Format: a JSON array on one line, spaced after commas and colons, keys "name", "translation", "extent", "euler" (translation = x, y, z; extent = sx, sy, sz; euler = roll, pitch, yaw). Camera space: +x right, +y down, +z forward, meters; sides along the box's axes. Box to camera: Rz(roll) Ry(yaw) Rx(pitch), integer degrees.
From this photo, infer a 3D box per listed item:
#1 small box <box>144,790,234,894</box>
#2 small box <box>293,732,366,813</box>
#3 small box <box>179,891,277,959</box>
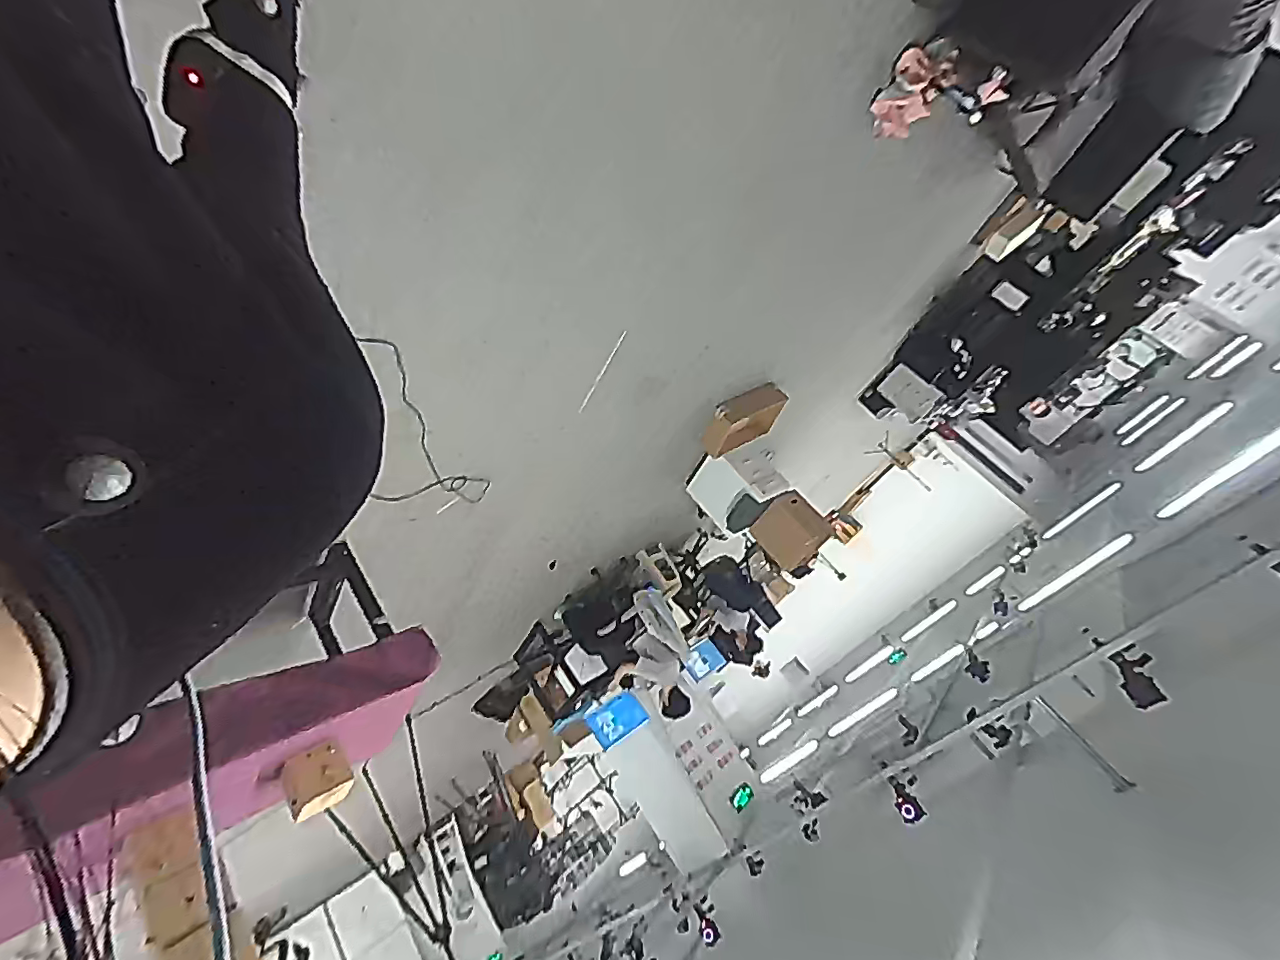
[{"name": "small box", "translation": [-1.354, 1.076, 1.619], "extent": [0.179, 0.176, 0.168], "euler": [-10, 144, -50]}, {"name": "small box", "translation": [-1.105, 1.027, 1.919], "extent": [0.168, 0.176, 0.179], "euler": [-10, 145, -49]}, {"name": "small box", "translation": [-1.146, 1.300, 1.499], "extent": [0.179, 0.176, 0.168], "euler": [-10, 145, -51]}]
